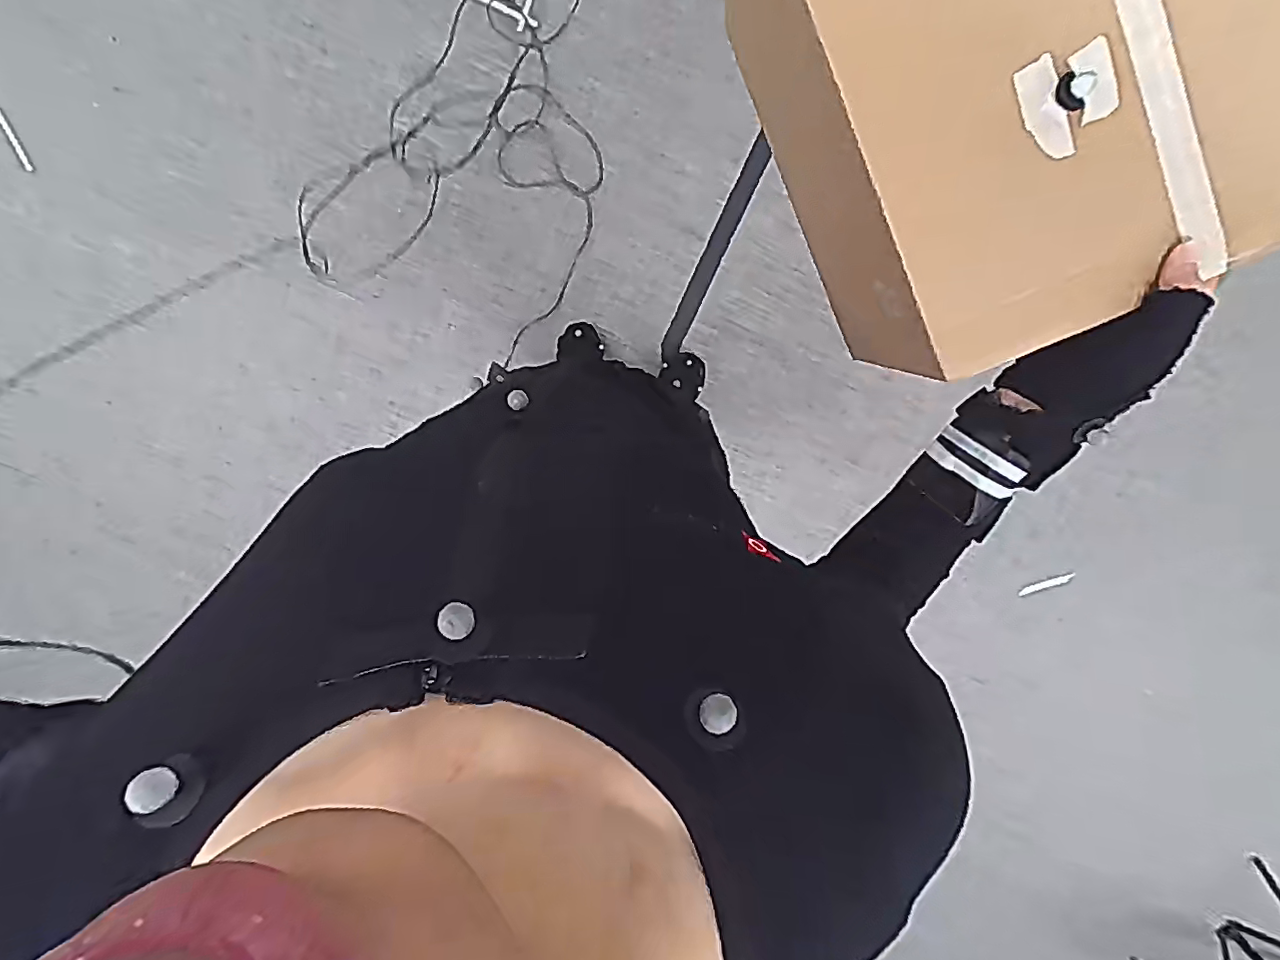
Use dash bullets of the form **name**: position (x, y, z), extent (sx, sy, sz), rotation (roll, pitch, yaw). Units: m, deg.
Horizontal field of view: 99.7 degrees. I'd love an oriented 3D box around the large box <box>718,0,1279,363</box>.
- **large box**: position (0.285, -0.357, 0.457), extent (0.320, 0.320, 0.408), rotation (-24, 102, 16)
